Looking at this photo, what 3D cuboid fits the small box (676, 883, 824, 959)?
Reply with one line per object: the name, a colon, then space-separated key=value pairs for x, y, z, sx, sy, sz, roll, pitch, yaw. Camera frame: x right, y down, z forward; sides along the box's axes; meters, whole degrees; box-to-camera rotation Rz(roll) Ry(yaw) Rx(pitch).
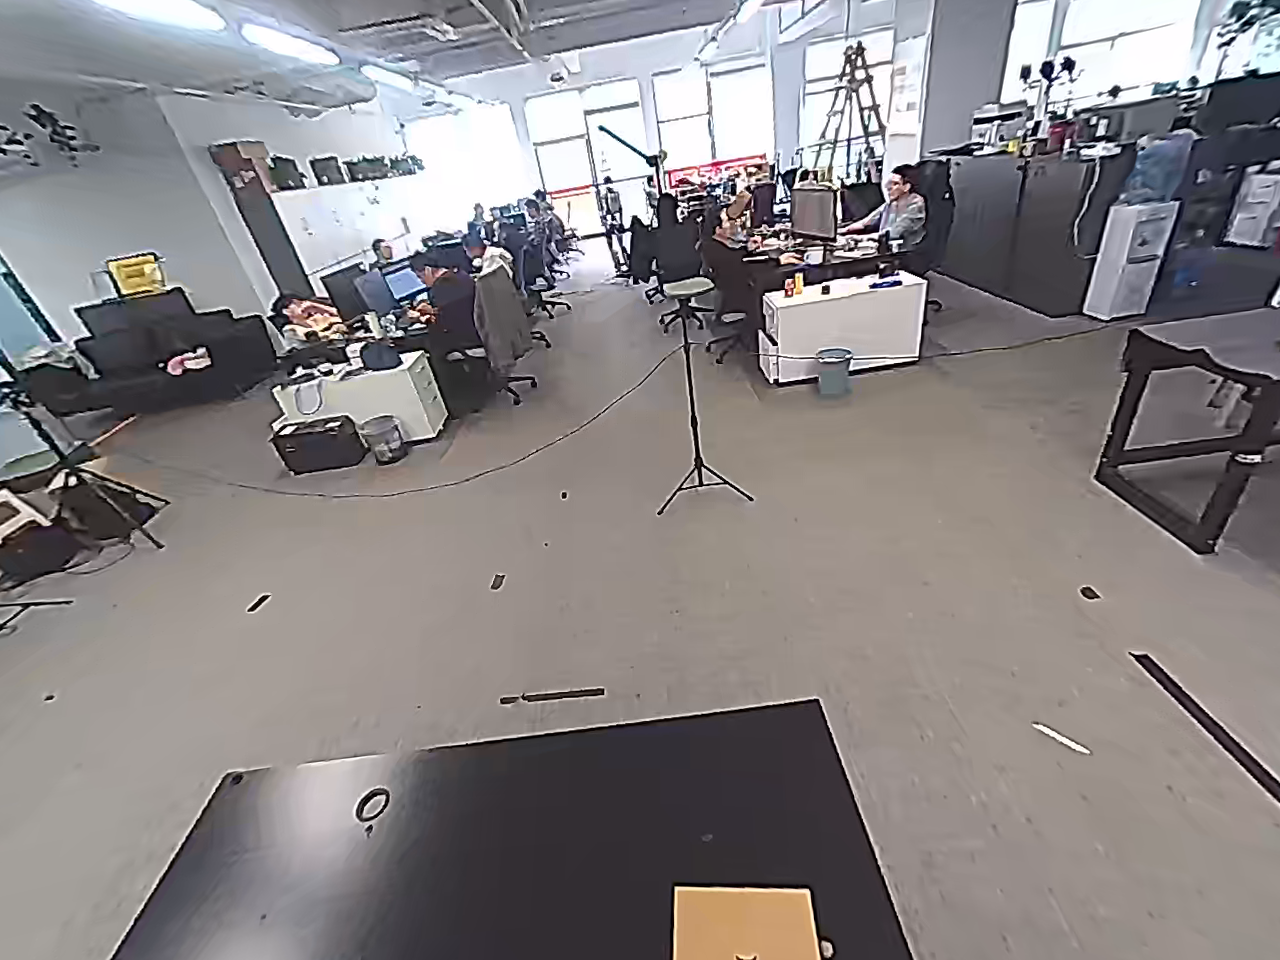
small box: x=0.131 y=0.608 z=0.626 sx=0.168 sy=0.176 sz=0.179 roll=-6 pitch=32 yaw=10
